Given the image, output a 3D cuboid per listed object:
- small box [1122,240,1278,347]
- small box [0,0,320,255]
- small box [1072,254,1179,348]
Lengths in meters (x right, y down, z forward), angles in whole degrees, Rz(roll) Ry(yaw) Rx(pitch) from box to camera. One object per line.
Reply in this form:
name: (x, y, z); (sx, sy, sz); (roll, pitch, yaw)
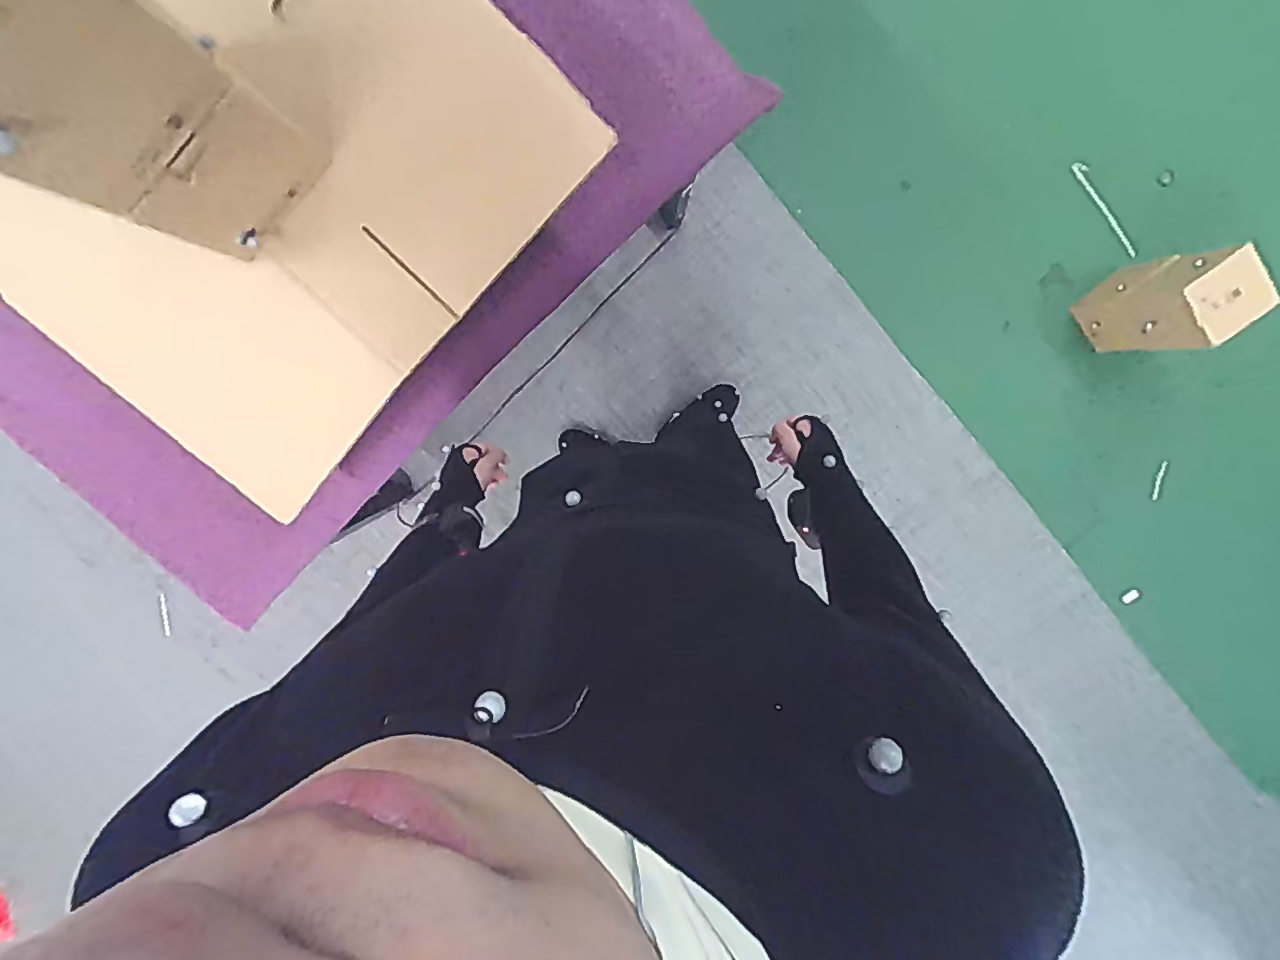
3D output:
small box: (1.347, -0.443, 1.313); (0.179, 0.176, 0.168); (-37, 99, 7)
small box: (-0.481, -0.359, 0.556); (0.179, 0.176, 0.168); (43, 95, -7)
small box: (1.347, -0.480, 1.473); (0.179, 0.176, 0.168); (-39, 99, 7)
